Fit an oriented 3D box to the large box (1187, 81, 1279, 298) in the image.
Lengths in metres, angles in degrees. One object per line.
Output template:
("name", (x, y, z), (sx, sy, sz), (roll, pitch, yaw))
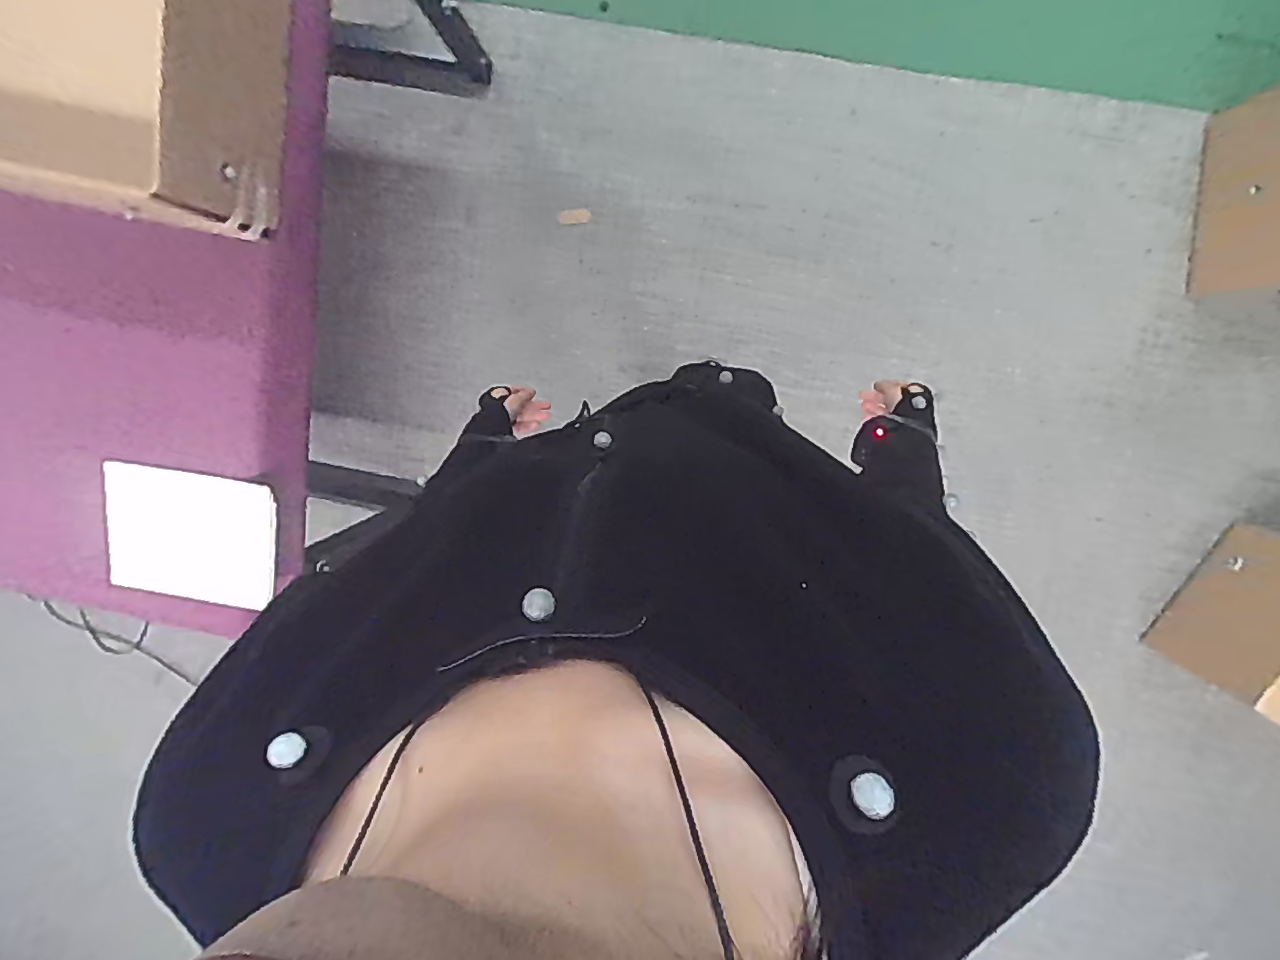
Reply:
("large box", (1.468, -0.631, 1.144), (0.320, 0.320, 0.408), (-4, 99, 4))
